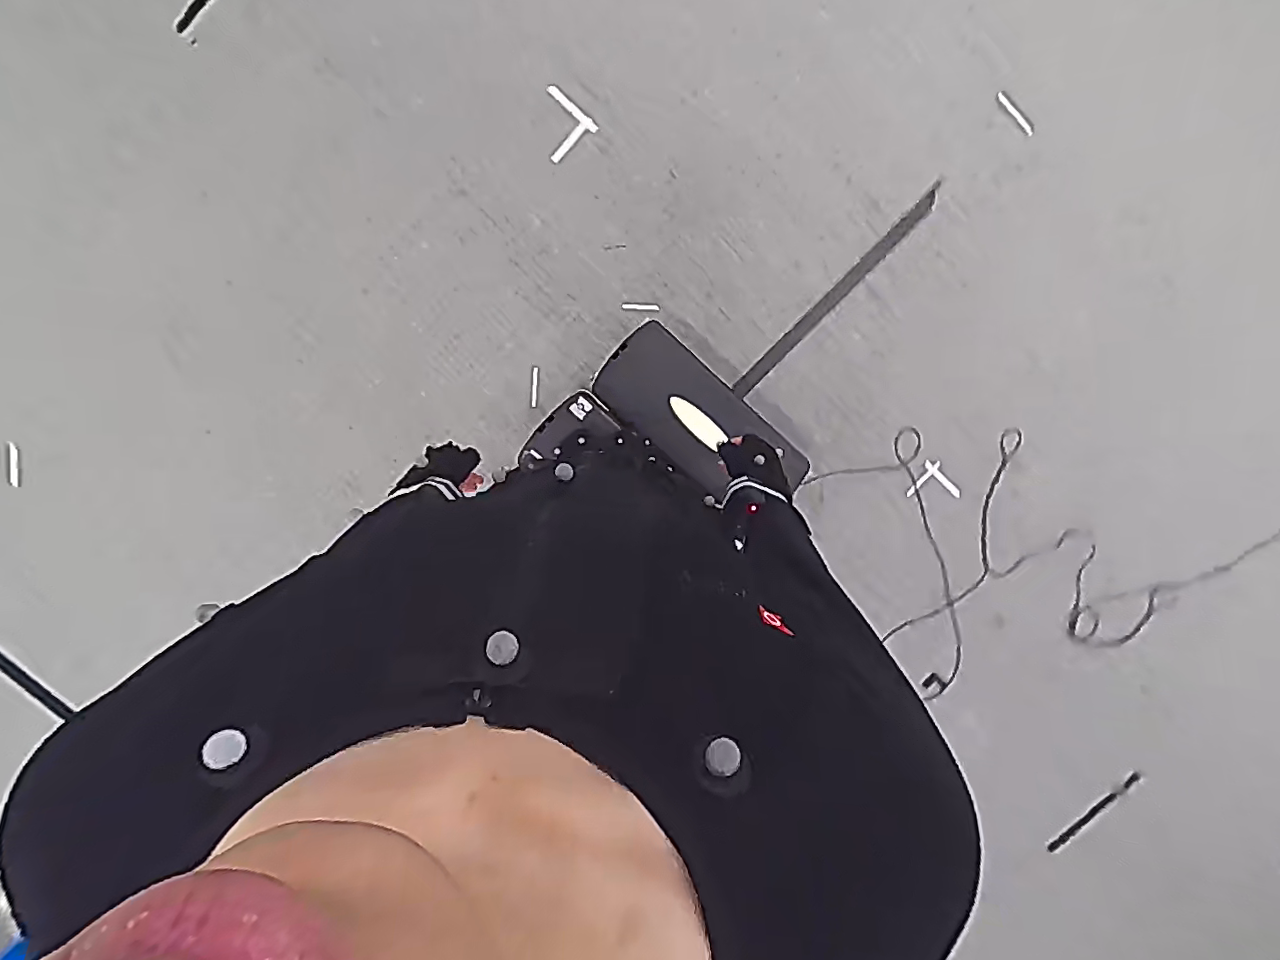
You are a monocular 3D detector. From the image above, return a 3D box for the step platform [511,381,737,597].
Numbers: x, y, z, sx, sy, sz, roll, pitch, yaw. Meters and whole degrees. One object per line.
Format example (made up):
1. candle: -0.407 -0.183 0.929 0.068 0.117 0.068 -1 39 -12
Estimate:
1. step platform: -0.041 0.027 1.577 0.684 0.204 0.286 42 94 -4
